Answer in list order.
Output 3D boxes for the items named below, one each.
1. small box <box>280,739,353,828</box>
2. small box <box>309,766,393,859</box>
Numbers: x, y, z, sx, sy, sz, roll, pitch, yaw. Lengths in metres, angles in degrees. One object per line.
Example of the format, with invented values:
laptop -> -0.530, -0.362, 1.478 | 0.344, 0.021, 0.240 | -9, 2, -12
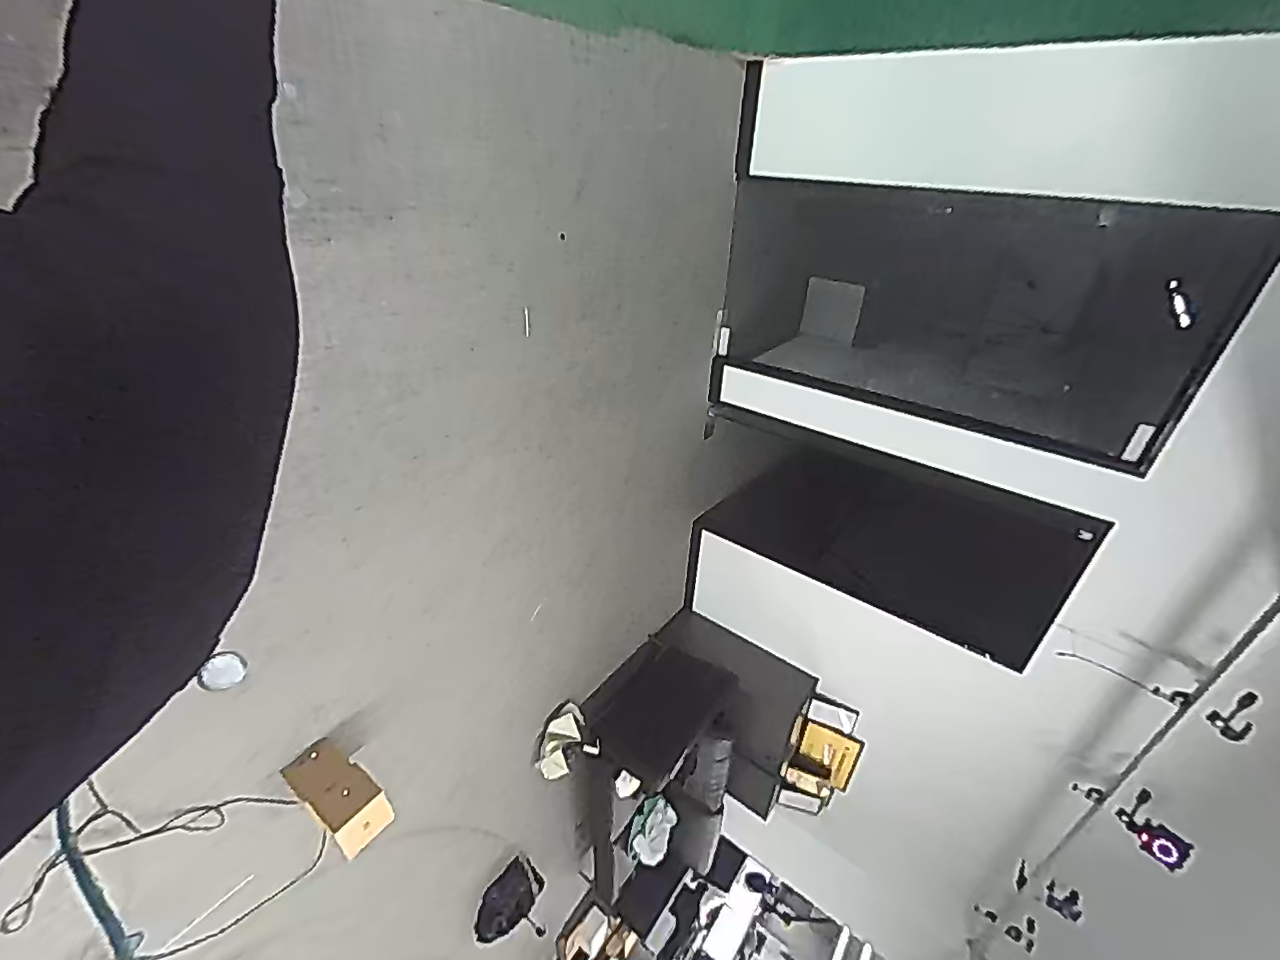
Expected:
small box -> -1.090, 1.034, 1.855 | 0.168, 0.176, 0.179 | -36, 138, -43
small box -> -0.952, 1.083, 1.780 | 0.168, 0.176, 0.179 | -35, 138, -43
